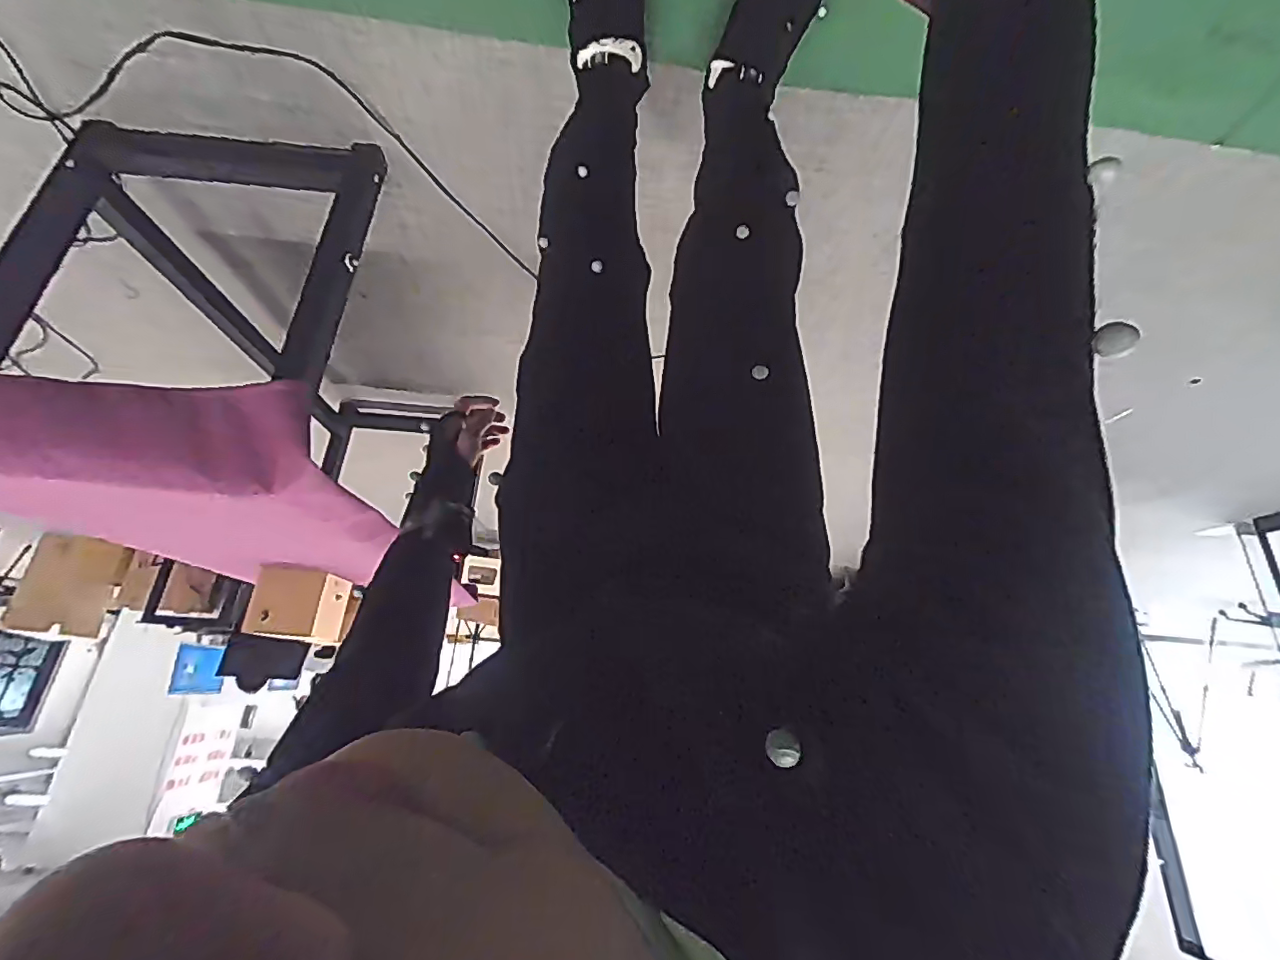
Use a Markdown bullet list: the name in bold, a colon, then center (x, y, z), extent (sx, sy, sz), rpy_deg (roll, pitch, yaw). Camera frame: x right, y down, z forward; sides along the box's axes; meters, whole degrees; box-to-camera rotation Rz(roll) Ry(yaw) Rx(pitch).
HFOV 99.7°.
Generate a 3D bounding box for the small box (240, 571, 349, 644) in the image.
- **small box**: center (-0.924, 0.345, 1.462), extent (0.179, 0.176, 0.168), rpy_deg (5, 159, -5)

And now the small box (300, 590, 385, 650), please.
- **small box**: center (-0.927, 0.438, 1.701), extent (0.168, 0.176, 0.179), rpy_deg (5, 159, -4)
